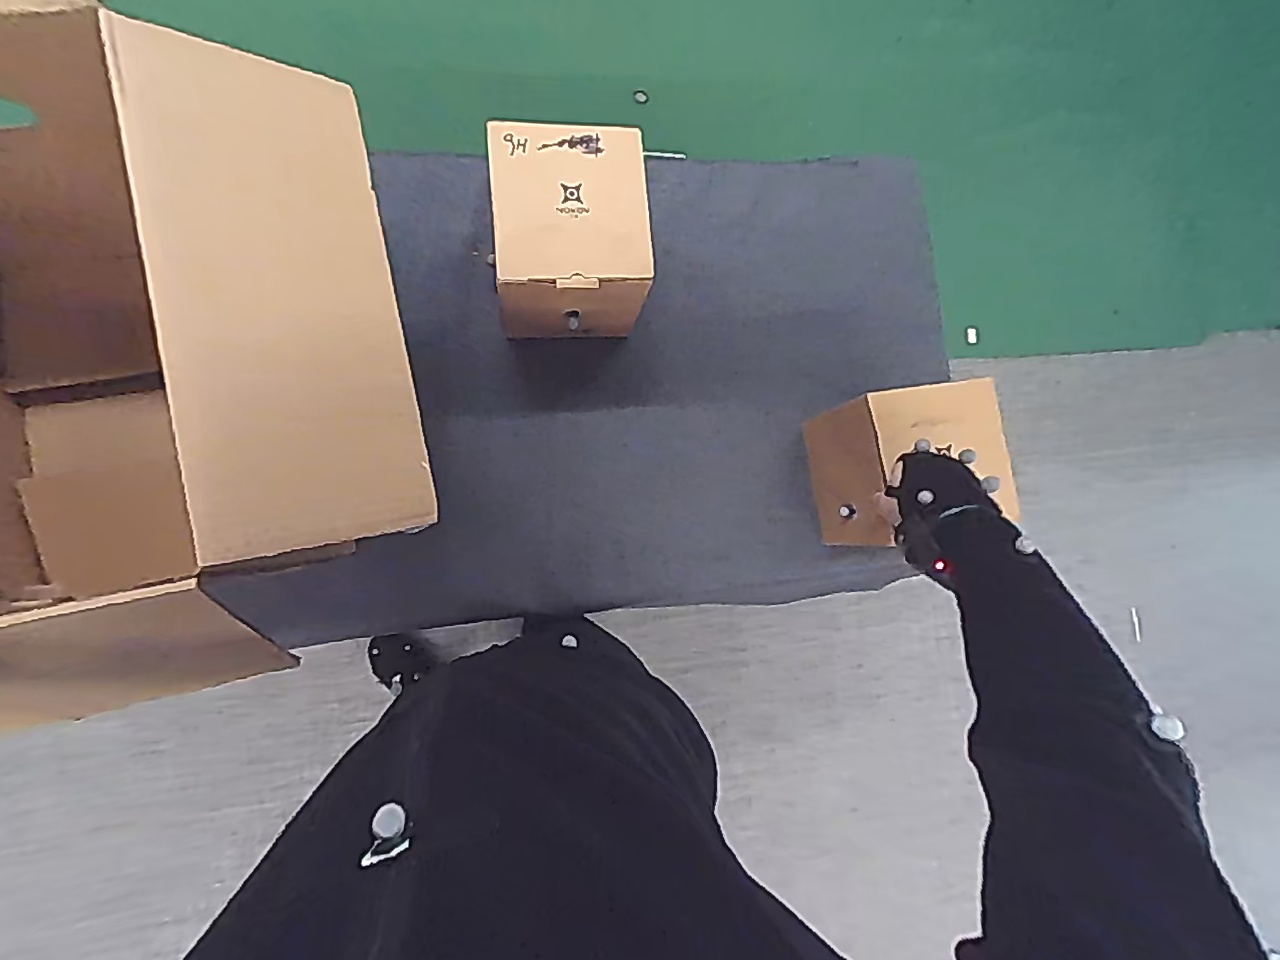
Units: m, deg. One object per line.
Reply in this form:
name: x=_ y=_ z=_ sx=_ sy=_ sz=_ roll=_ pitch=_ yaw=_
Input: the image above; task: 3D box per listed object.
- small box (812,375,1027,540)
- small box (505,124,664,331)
small box: x=0.346 y=-0.022 z=0.700 sx=0.168 sy=0.176 sz=0.179 roll=-9 pitch=85 yaw=-10
small box: x=-0.072 y=-0.290 z=0.660 sx=0.168 sy=0.176 sz=0.179 roll=-4 pitch=86 yaw=-11
